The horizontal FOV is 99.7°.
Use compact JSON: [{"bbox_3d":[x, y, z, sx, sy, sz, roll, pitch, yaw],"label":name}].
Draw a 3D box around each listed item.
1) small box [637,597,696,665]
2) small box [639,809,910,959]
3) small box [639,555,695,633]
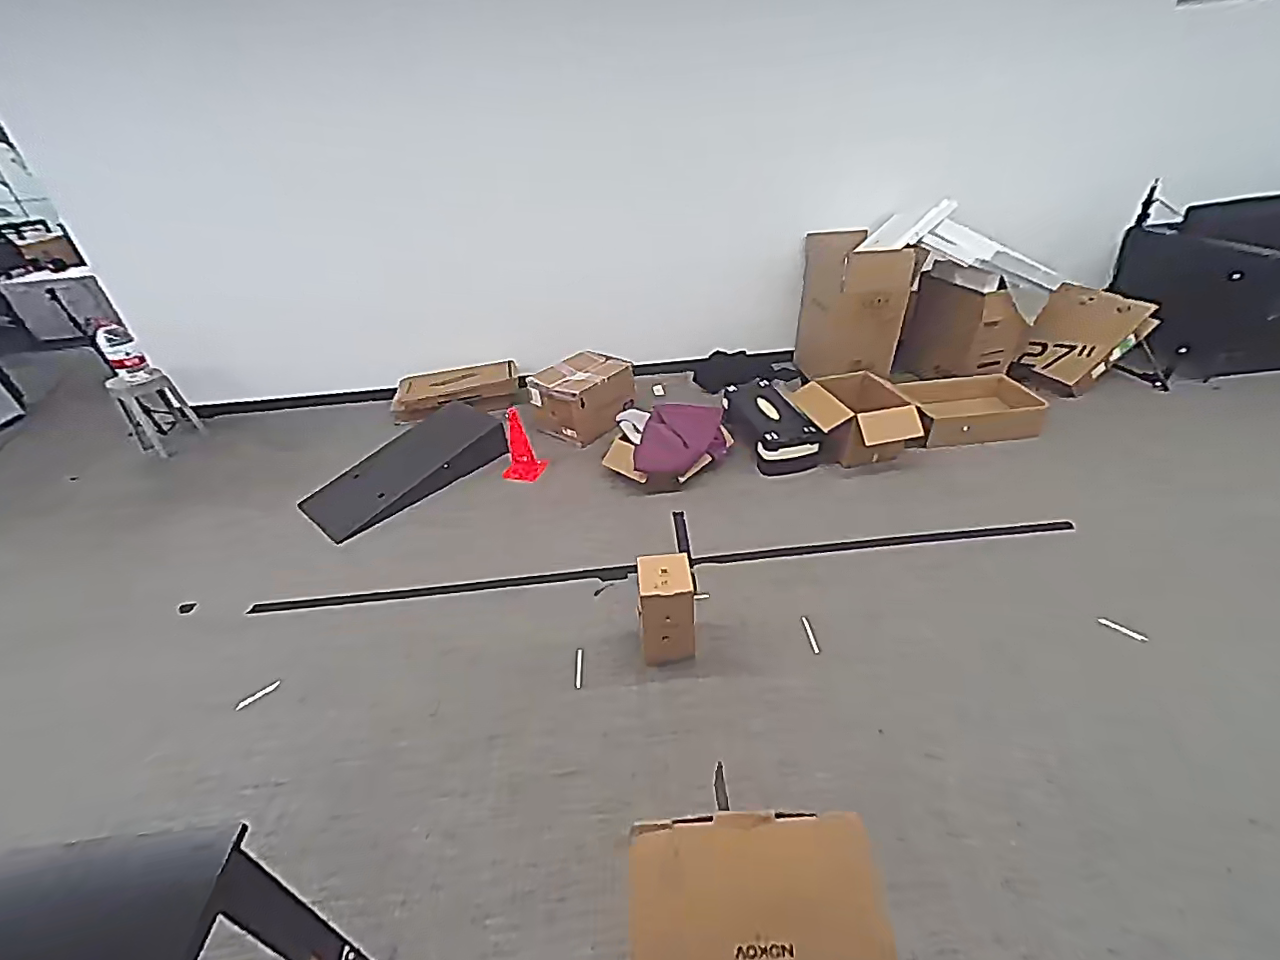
[{"bbox_3d":[0.090,0.503,1.827,0.179,0.176,0.168,-7,35,-4],"label":"small box"},{"bbox_3d":[0.083,0.350,0.378,0.168,0.176,0.179,-3,49,1],"label":"small box"},{"bbox_3d":[0.084,0.366,1.734,0.168,0.176,0.179,-5,35,0],"label":"small box"}]
